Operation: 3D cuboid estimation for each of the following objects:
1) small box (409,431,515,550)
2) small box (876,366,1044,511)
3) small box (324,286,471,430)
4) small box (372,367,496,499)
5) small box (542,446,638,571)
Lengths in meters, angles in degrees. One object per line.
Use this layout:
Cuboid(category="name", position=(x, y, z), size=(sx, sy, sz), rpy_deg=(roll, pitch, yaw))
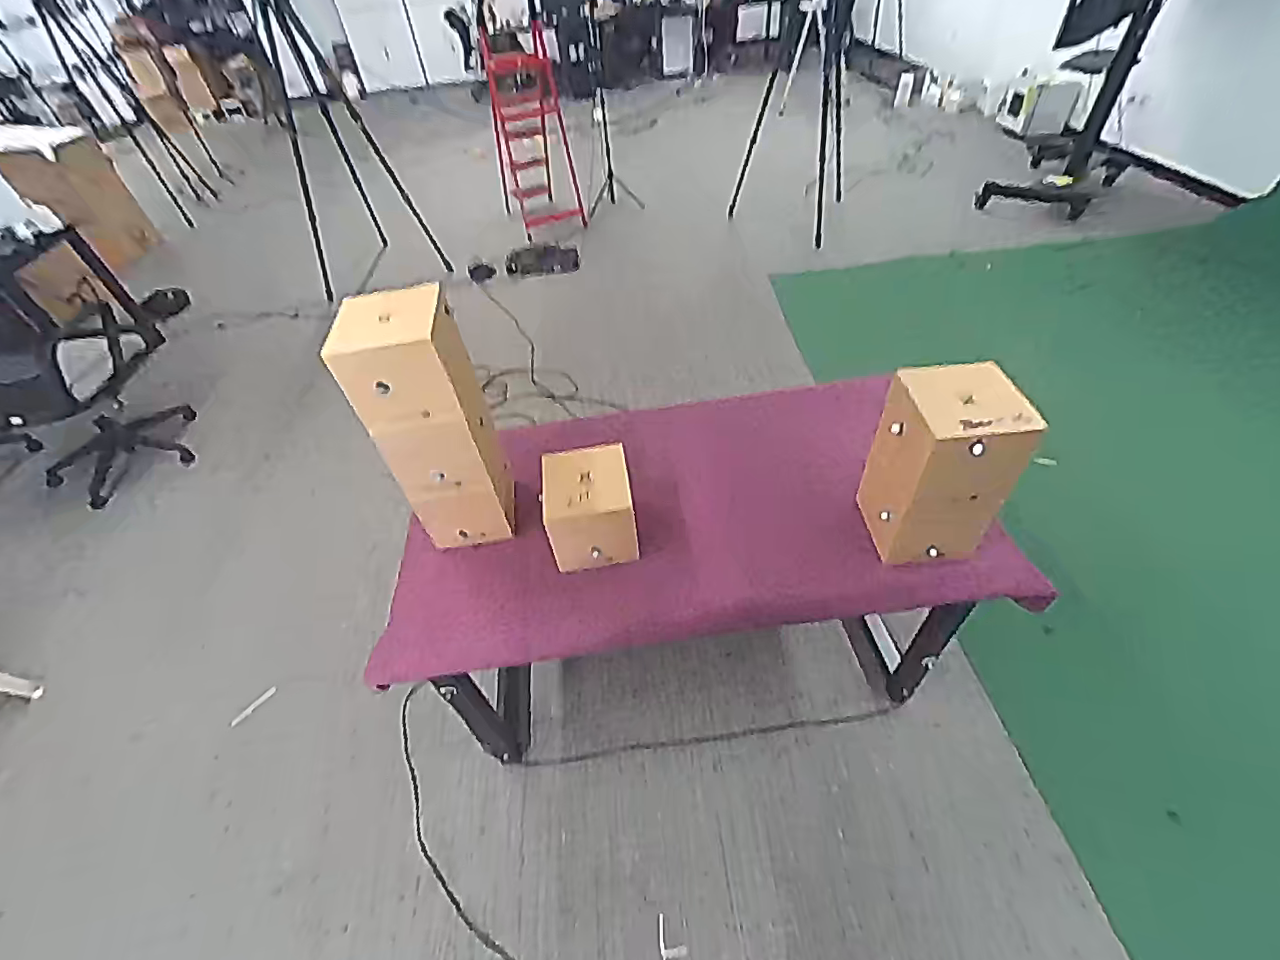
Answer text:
Cuboid(category="small box", position=(-0.370, 0.023, 1.157), size=(0.168, 0.176, 0.179), rpy_deg=(-10, 47, -2))
Cuboid(category="small box", position=(0.520, -0.069, 0.914), size=(0.168, 0.176, 0.179), rpy_deg=(-5, 45, 3))
Cuboid(category="small box", position=(-0.397, -0.200, 0.921), size=(0.168, 0.176, 0.179), rpy_deg=(-11, 46, -2))
Cuboid(category="small box", position=(-0.383, -0.090, 1.039), size=(0.168, 0.176, 0.179), rpy_deg=(-10, 47, -2))
Cuboid(category="small box", position=(-0.099, 0.059, 1.093), size=(0.168, 0.176, 0.179), rpy_deg=(-9, 47, -1))
